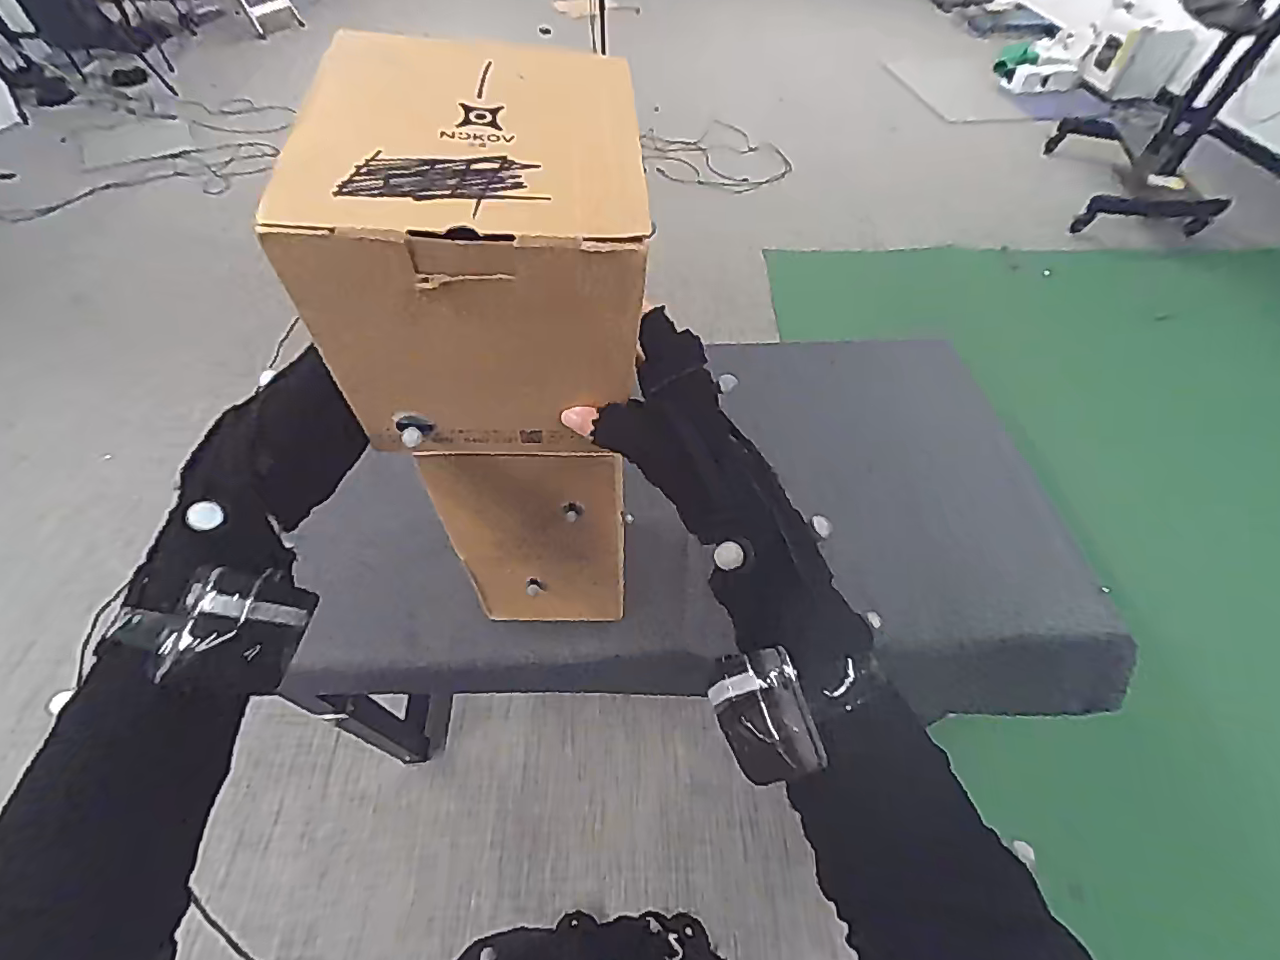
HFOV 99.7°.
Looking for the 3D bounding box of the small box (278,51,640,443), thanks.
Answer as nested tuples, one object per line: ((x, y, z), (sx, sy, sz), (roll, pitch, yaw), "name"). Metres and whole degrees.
((-0.091, -0.138, 0.355), (0.168, 0.176, 0.179), (1, 59, -7), "small box")

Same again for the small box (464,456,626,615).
((-0.109, 0.068, 0.712), (0.179, 0.176, 0.168), (0, 51, 0), "small box")

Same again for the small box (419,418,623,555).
((-0.108, -0.030, 0.583), (0.179, 0.176, 0.168), (-1, 50, 0), "small box")
